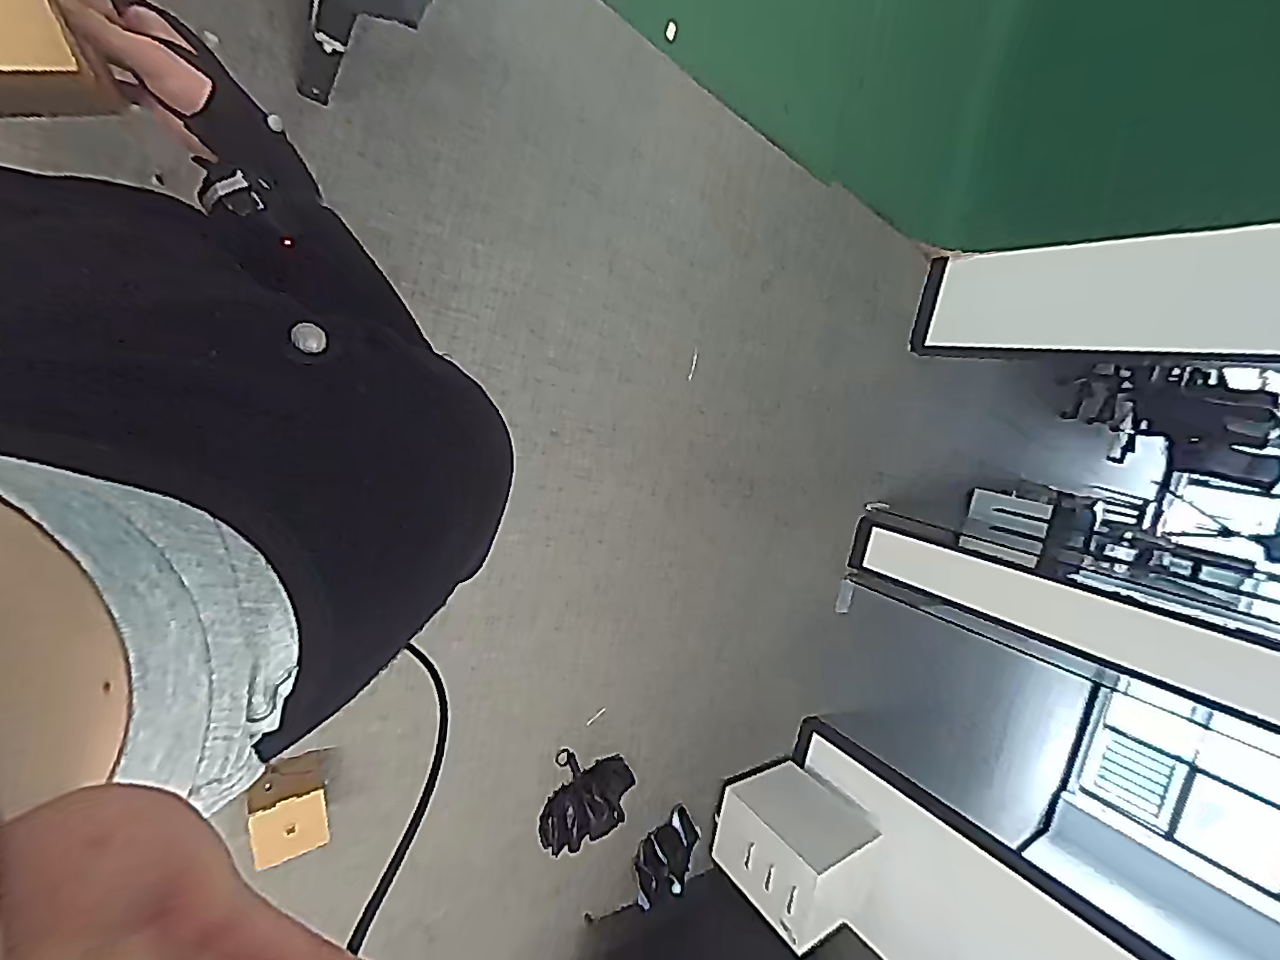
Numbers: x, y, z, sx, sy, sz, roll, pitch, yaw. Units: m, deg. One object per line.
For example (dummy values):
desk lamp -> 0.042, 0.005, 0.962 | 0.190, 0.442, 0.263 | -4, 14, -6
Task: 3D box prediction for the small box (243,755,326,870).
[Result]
small box -> -0.953, 0.875, 1.448 | 0.168, 0.176, 0.179 | -8, 109, -33
